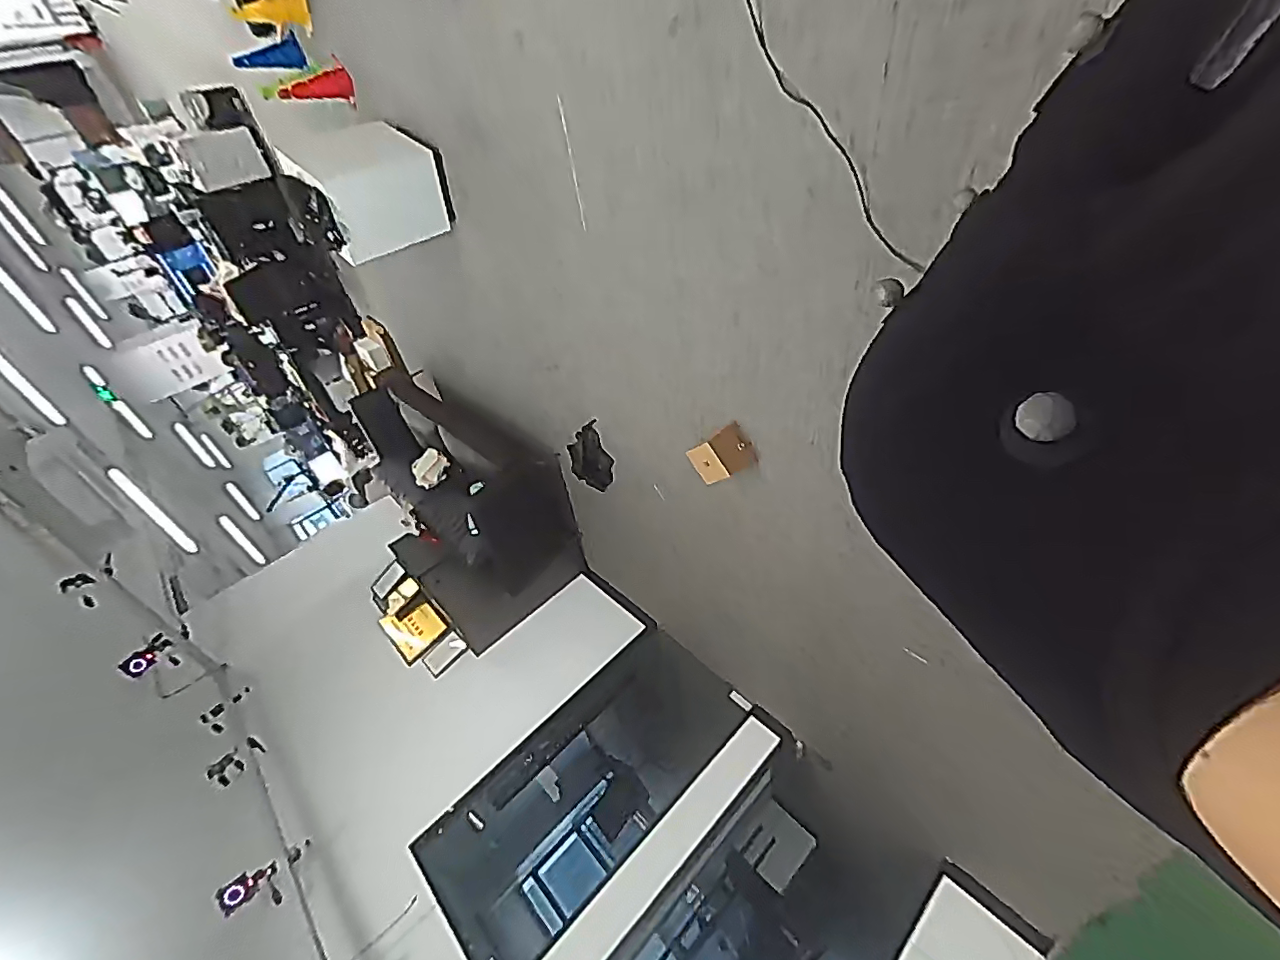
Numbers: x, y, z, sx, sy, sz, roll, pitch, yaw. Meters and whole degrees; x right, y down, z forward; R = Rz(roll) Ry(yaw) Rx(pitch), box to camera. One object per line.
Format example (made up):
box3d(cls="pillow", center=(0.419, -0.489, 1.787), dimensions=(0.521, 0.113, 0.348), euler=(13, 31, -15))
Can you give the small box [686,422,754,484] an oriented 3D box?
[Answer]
box3d(cls="small box", center=(0.326, -0.109, 2.183), dimensions=(0.168, 0.176, 0.179), euler=(55, 153, -5))
